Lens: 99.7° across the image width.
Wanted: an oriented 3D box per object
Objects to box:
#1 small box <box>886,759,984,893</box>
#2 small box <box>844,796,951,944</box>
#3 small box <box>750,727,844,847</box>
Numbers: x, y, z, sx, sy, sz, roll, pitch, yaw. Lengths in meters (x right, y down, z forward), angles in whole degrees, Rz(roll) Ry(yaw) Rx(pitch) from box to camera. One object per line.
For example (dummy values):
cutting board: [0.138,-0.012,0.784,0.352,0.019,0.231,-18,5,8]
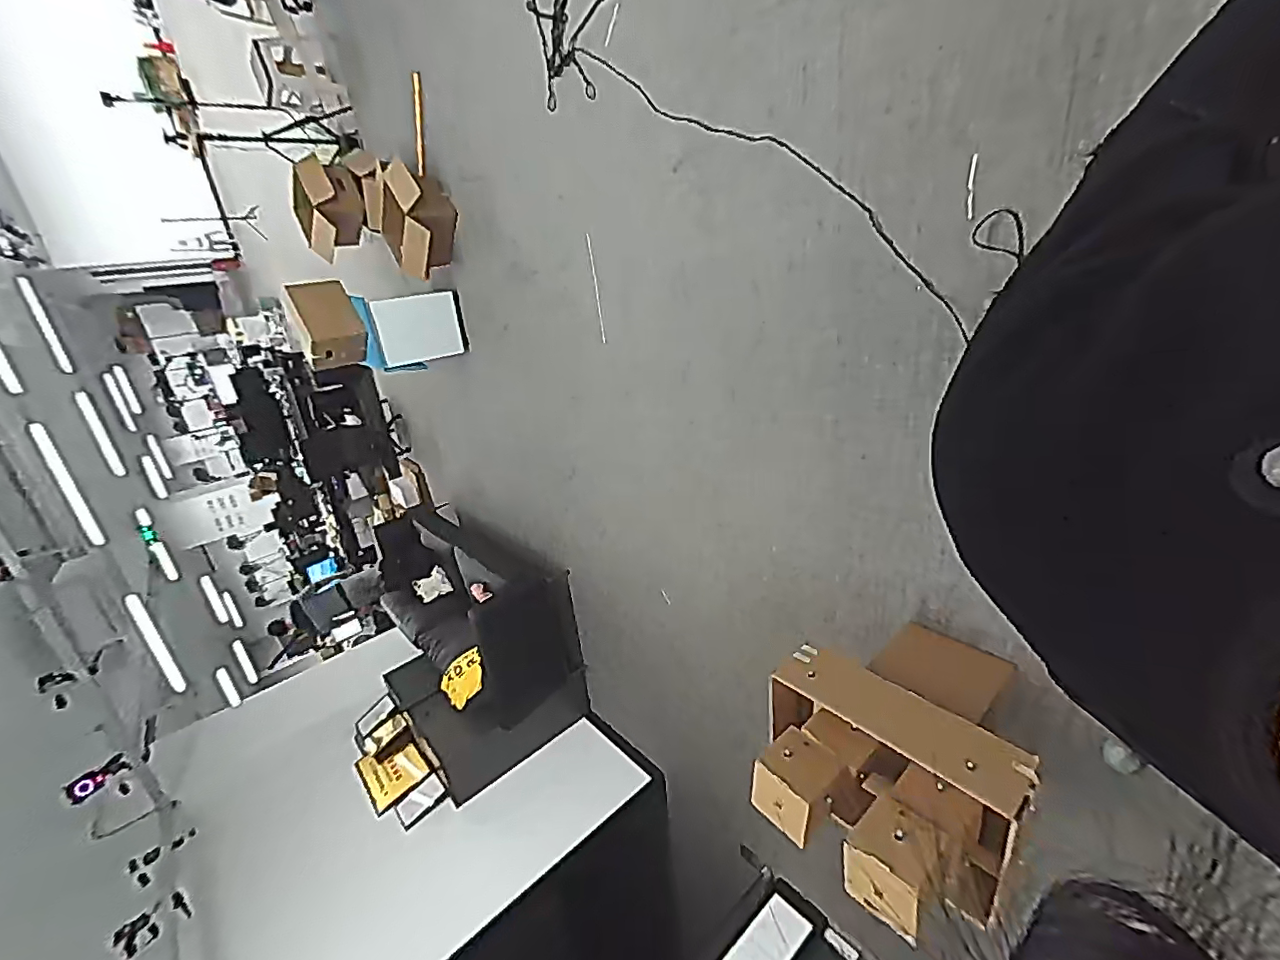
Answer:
small box: [0.715,0.833,1.320,0.168,0.176,0.179,15,120,48]
small box: [0.584,0.870,1.227,0.168,0.176,0.179,16,120,49]
small box: [0.412,0.793,1.416,0.168,0.176,0.179,26,128,44]
